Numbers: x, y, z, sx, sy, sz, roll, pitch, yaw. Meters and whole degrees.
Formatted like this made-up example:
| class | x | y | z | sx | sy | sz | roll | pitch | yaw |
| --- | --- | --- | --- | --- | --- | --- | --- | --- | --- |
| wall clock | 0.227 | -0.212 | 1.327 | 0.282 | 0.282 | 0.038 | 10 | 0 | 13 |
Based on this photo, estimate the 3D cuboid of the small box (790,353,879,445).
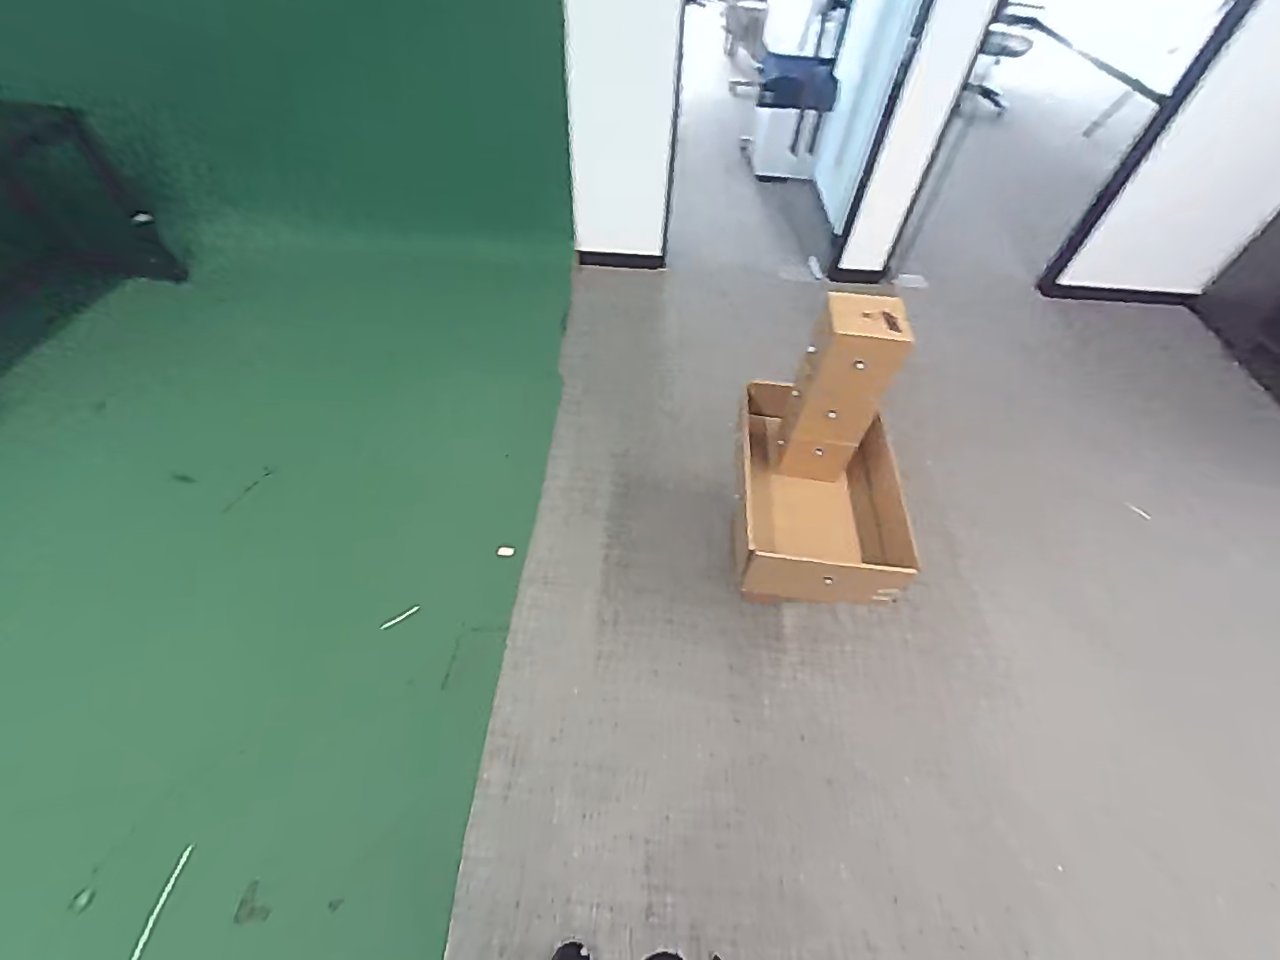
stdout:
| class | x | y | z | sx | sy | sz | roll | pitch | yaw |
| --- | --- | --- | --- | --- | --- | --- | --- | --- | --- |
| small box | 0.500 | -0.211 | 1.423 | 0.179 | 0.176 | 0.168 | 7 | 52 | 2 |

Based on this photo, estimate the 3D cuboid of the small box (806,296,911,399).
| class | x | y | z | sx | sy | sz | roll | pitch | yaw |
| --- | --- | --- | --- | --- | --- | --- | --- | --- | --- |
| small box | 0.512 | -0.313 | 1.294 | 0.179 | 0.176 | 0.168 | 7 | 52 | 1 |

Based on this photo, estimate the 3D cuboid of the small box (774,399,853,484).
| class | x | y | z | sx | sy | sz | roll | pitch | yaw |
| --- | --- | --- | --- | --- | --- | --- | --- | --- | --- |
| small box | 0.487 | -0.107 | 1.549 | 0.179 | 0.176 | 0.168 | 9 | 52 | 1 |
